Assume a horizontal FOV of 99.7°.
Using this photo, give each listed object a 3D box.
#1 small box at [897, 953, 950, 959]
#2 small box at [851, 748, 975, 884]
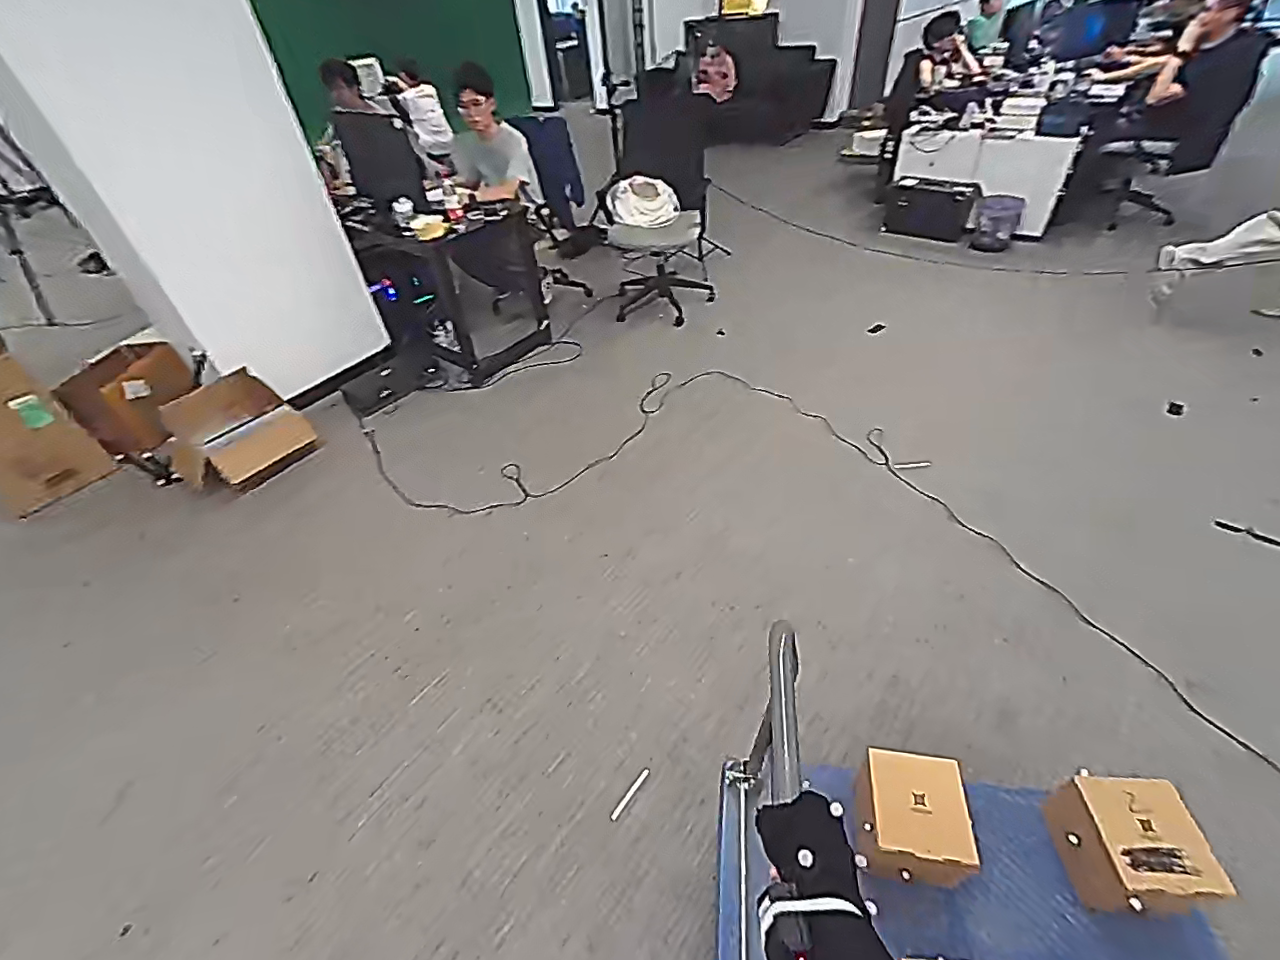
[{"bbox_3d":[0.481,0.869,0.837,0.168,0.176,0.179,1,43,7],"label":"small box"},{"bbox_3d":[0.520,0.659,1.061,0.168,0.176,0.179,4,45,10],"label":"small box"}]
